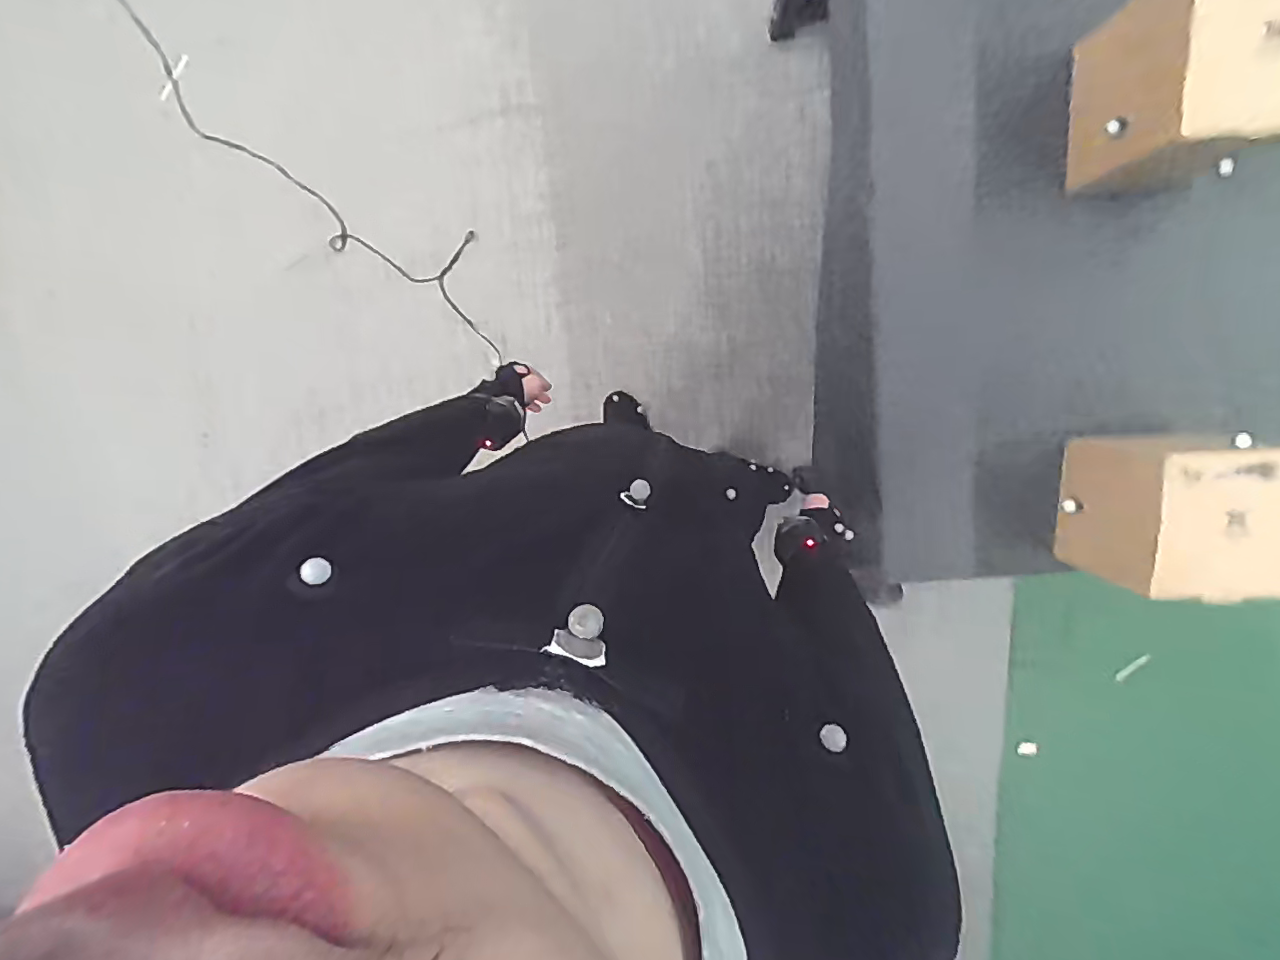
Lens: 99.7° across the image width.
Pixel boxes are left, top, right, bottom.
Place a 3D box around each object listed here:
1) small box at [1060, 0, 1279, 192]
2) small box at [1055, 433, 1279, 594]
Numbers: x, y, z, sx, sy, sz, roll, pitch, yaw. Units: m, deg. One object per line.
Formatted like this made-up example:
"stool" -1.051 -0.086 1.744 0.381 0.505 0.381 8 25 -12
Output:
"small box" 0.631 -0.455 0.628 0.168 0.176 0.179 -5 98 1
"small box" 0.686 0.035 0.706 0.168 0.176 0.179 -2 100 2
